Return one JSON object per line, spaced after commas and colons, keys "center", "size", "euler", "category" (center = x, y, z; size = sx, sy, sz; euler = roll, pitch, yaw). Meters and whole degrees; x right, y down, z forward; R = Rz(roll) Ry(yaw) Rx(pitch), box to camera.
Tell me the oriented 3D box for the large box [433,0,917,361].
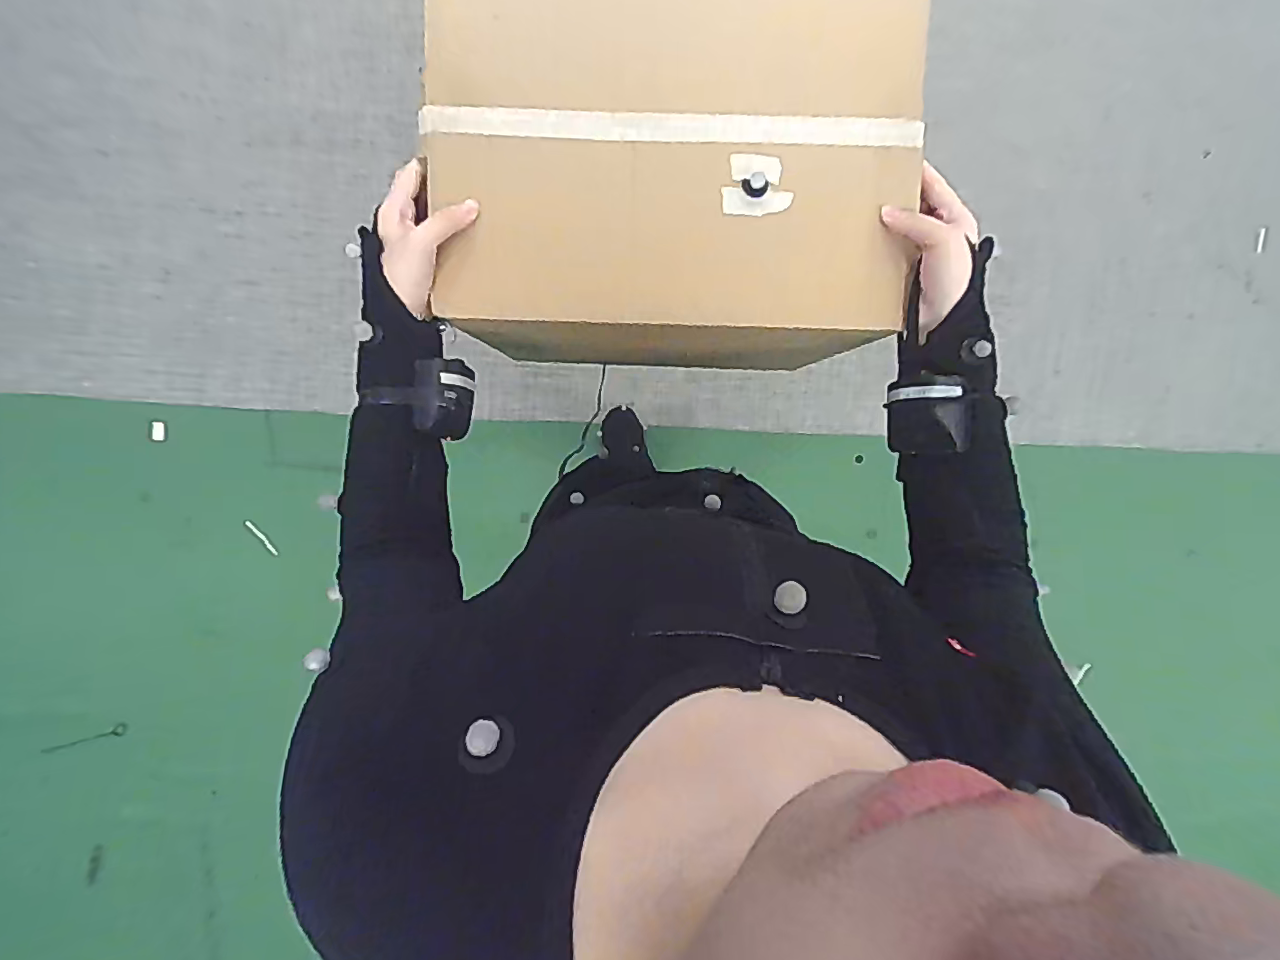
{"center": [0.024, -0.308, 0.598], "size": [0.408, 0.320, 0.320], "euler": [1, 96, -2], "category": "large box"}
